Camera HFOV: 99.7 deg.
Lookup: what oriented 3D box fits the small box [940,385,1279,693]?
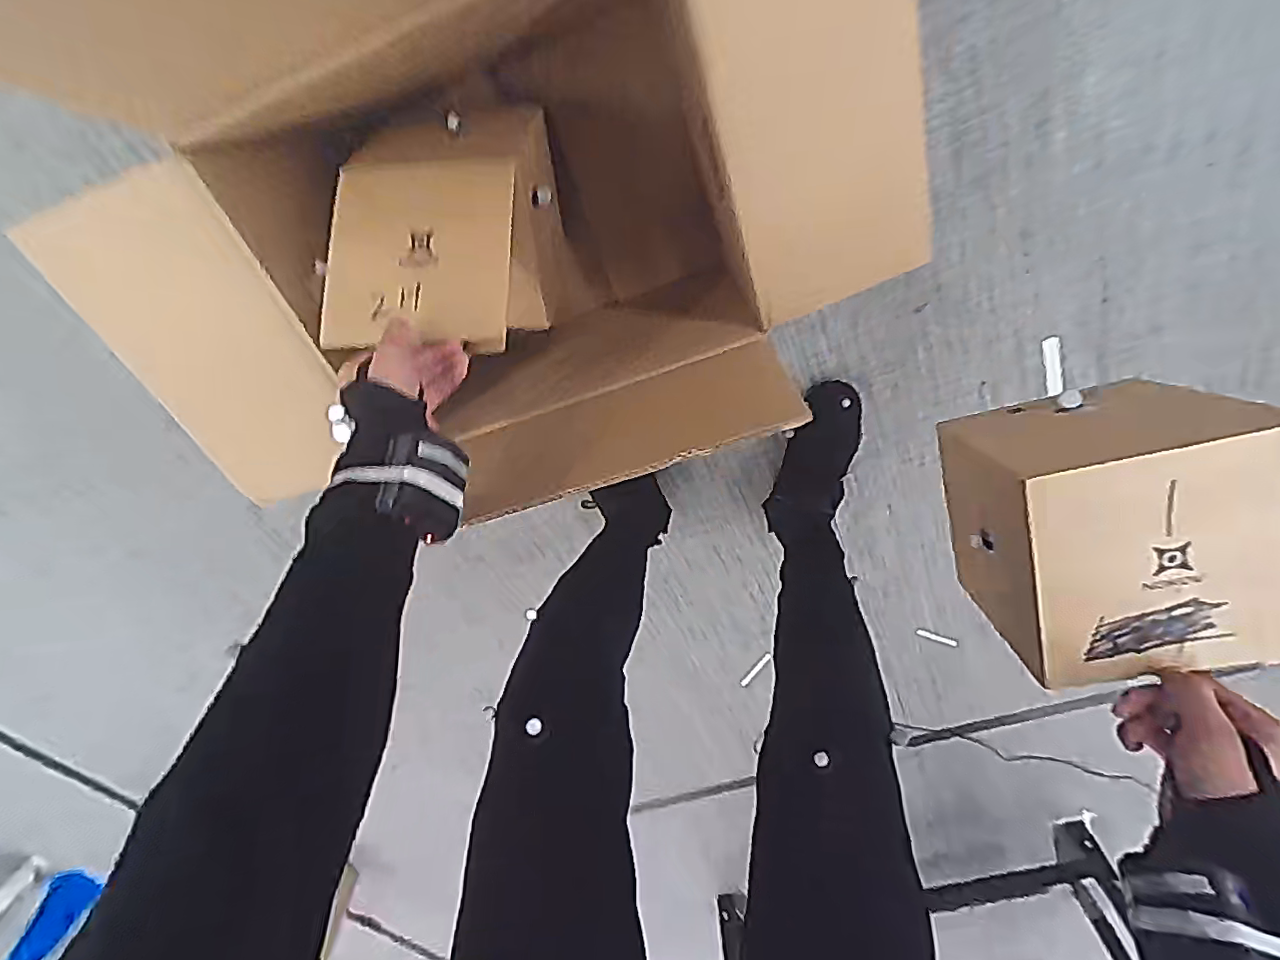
[{"bbox_3d":[0.365,0.037,0.435,0.168,0.176,0.179,-13,106,13],"label":"small box"}]
